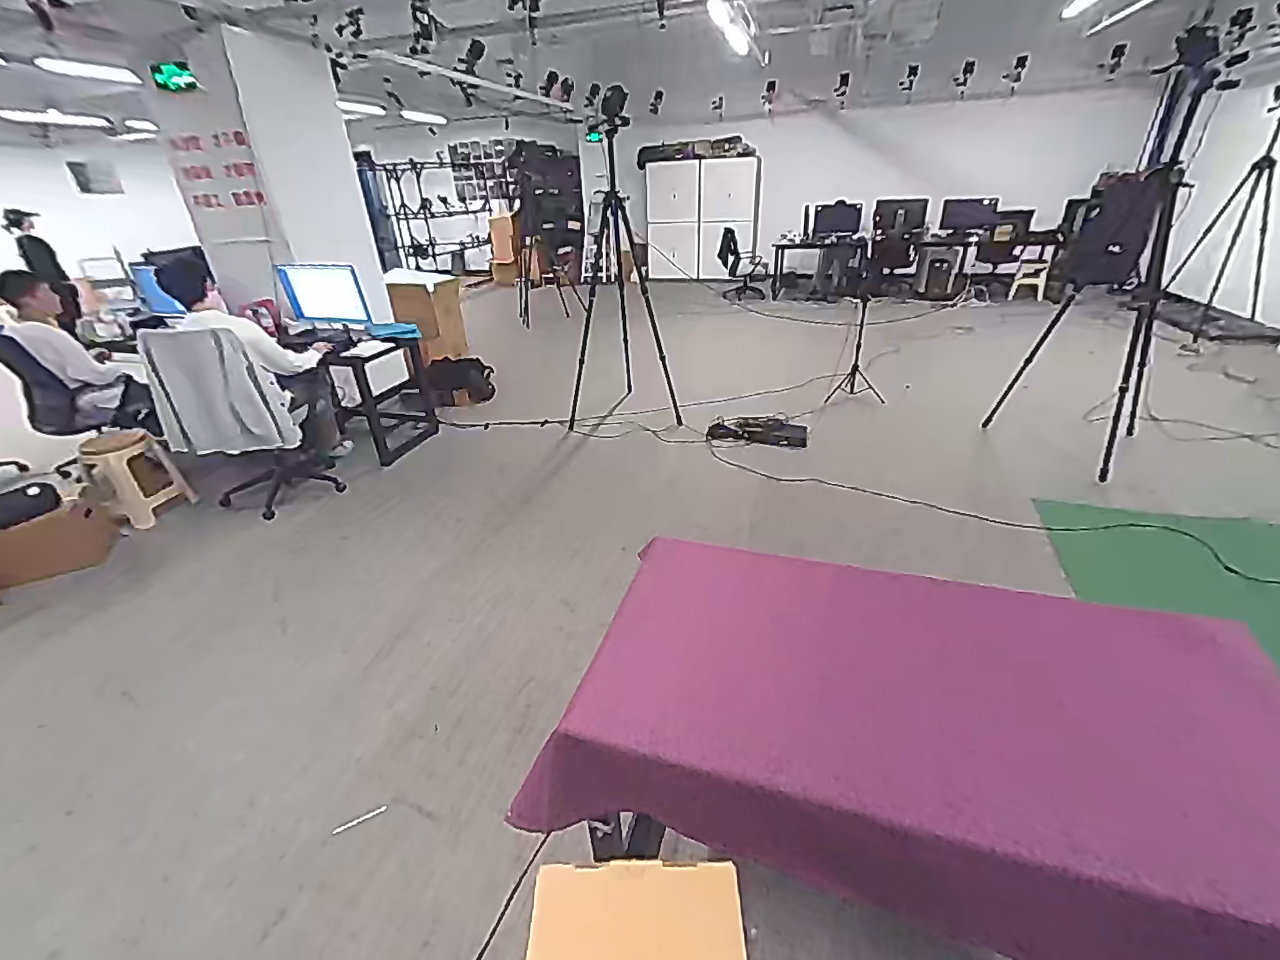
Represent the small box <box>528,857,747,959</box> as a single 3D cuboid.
[{"bbox_3d":[0.001,0.432,0.425,0.168,0.176,0.179,-2,33,1],"label":"small box"}]
